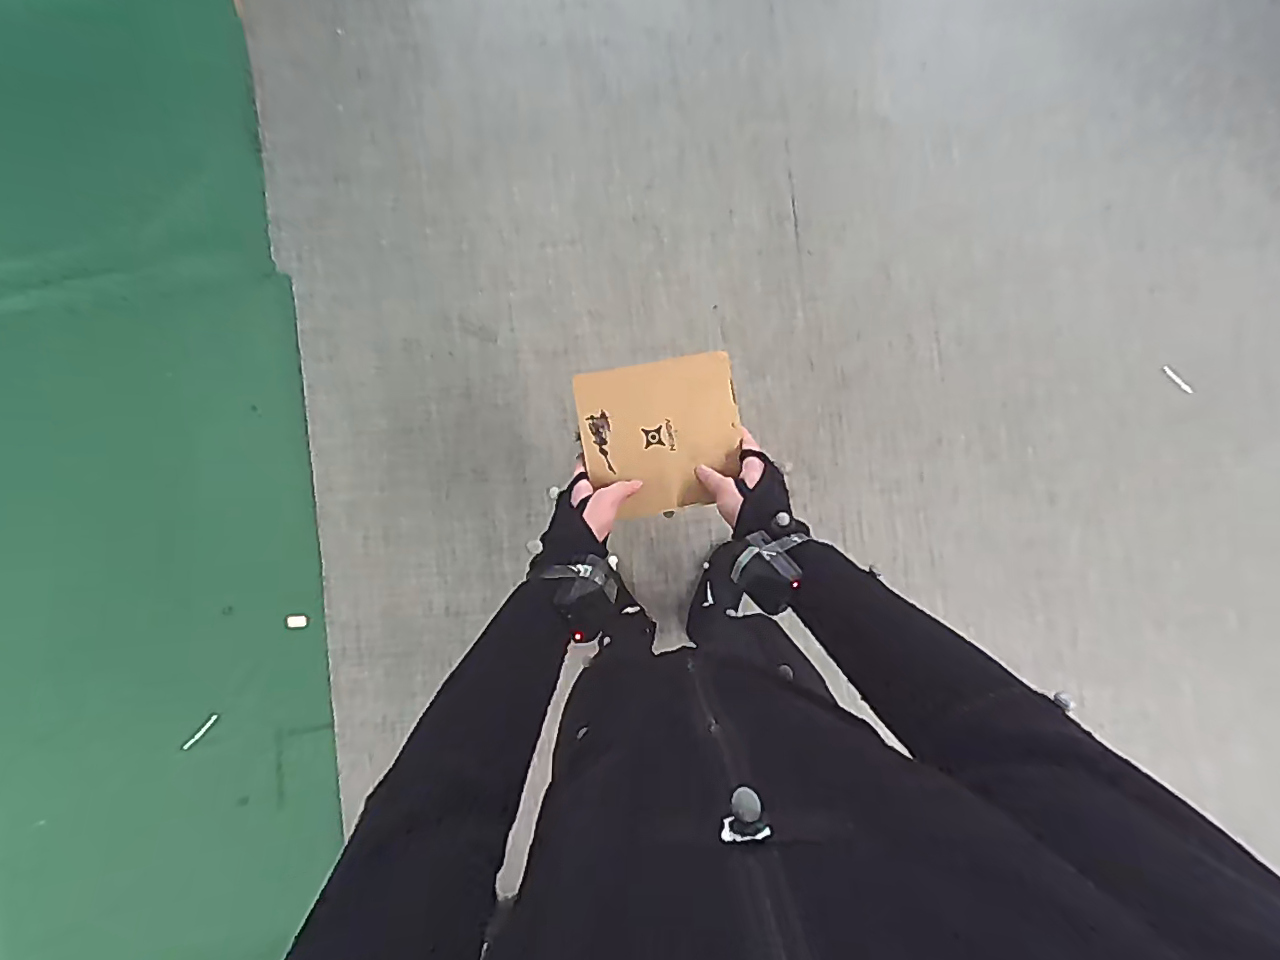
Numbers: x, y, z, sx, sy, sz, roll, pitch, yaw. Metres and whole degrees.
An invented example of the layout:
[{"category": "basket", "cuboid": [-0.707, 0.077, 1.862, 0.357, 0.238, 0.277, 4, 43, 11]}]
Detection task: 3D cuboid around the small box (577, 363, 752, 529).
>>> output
[{"category": "small box", "cuboid": [0.025, -0.040, 0.671, 0.179, 0.176, 0.168, -9, 91, -1]}]
